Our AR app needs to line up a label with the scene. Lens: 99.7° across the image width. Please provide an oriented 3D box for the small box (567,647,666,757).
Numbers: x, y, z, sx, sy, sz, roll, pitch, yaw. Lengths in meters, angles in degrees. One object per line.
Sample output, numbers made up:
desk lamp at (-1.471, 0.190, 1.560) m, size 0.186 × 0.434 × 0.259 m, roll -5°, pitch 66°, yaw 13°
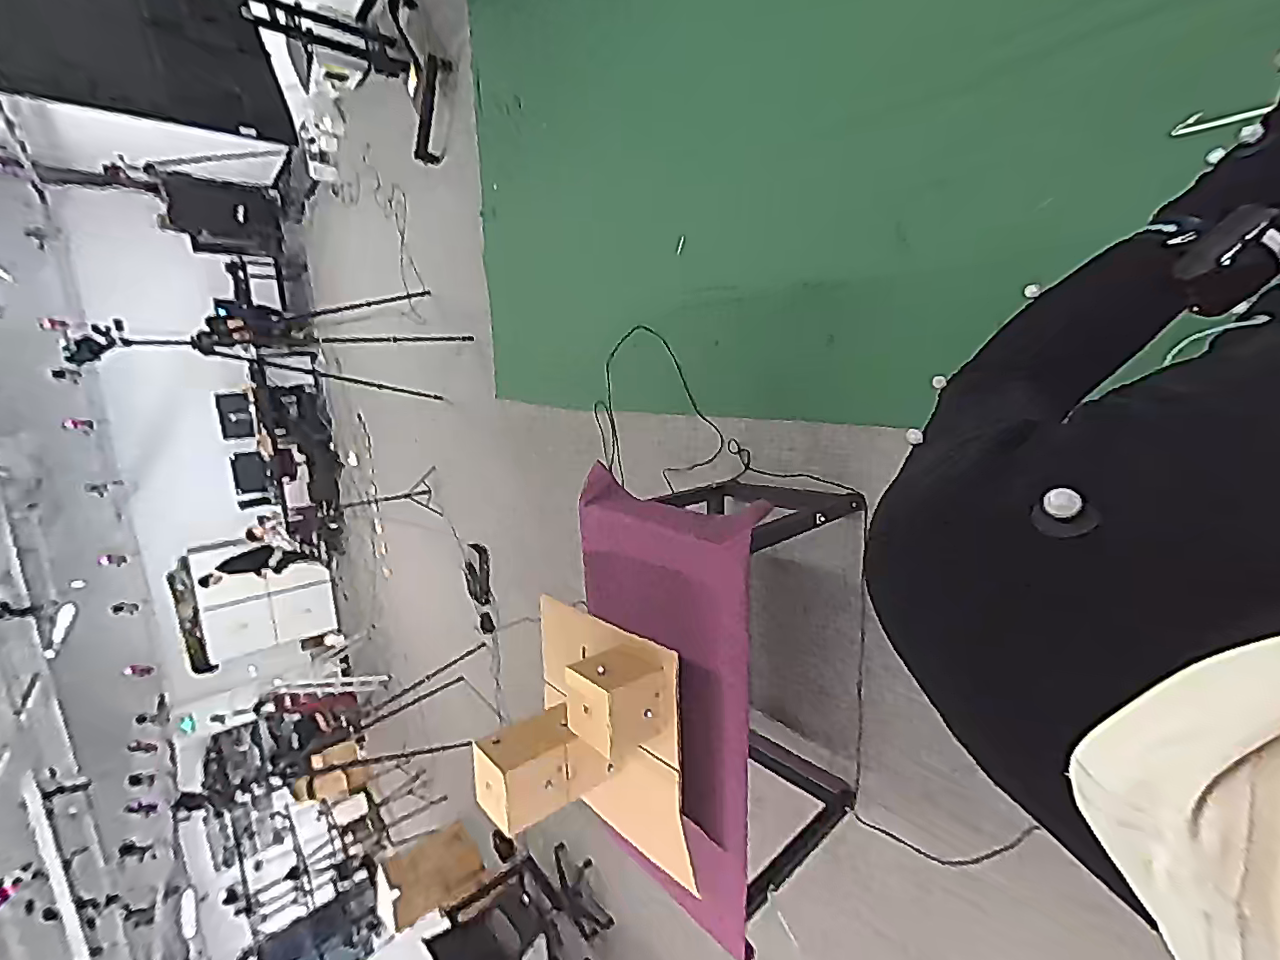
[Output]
small box at (-0.056, 0.522, 1.303) m, size 0.179 × 0.176 × 0.168 m, roll 6°, pitch 102°, yaw 48°

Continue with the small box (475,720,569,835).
small box at (-0.297, 0.734, 1.364) m, size 0.179 × 0.176 × 0.168 m, roll 6°, pitch 101°, yaw 48°

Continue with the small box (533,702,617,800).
small box at (-0.172, 0.716, 1.468) m, size 0.179 × 0.176 × 0.168 m, roll 7°, pitch 101°, yaw 49°
